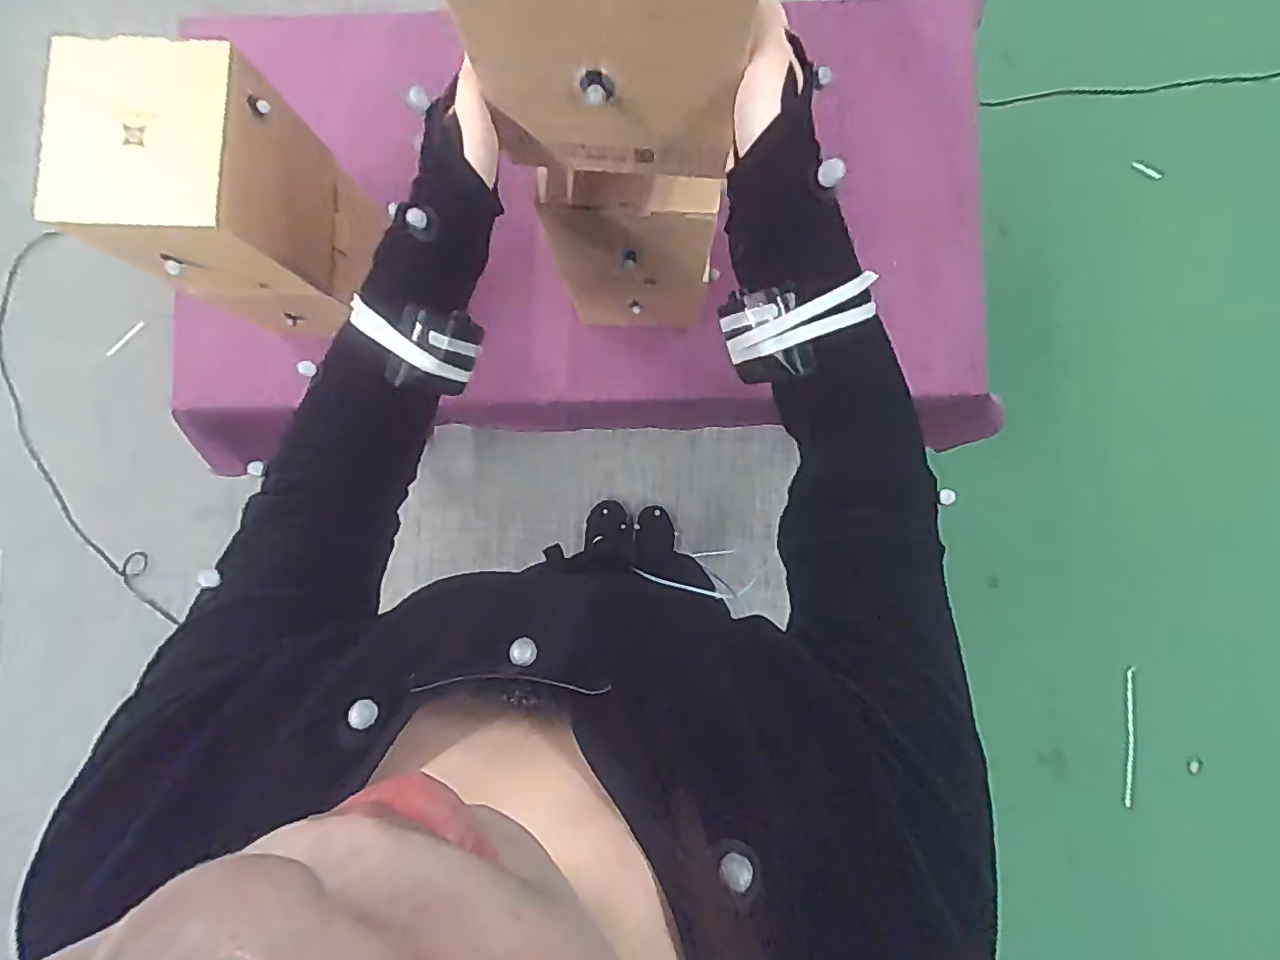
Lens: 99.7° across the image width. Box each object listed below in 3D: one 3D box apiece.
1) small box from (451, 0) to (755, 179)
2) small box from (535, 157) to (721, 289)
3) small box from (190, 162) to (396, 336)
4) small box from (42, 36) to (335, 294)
[{"bbox_3d":[-0.010,-0.324,0.341,0.168,0.176,0.179,6,82,2],"label":"small box"},{"bbox_3d":[-0.002,-0.314,0.559,0.168,0.176,0.179,5,89,1],"label":"small box"},{"bbox_3d":[-0.449,-0.300,0.727,0.179,0.176,0.168,1,87,1],"label":"small box"},{"bbox_3d":[-0.447,-0.309,0.565,0.168,0.176,0.179,2,87,1],"label":"small box"}]
